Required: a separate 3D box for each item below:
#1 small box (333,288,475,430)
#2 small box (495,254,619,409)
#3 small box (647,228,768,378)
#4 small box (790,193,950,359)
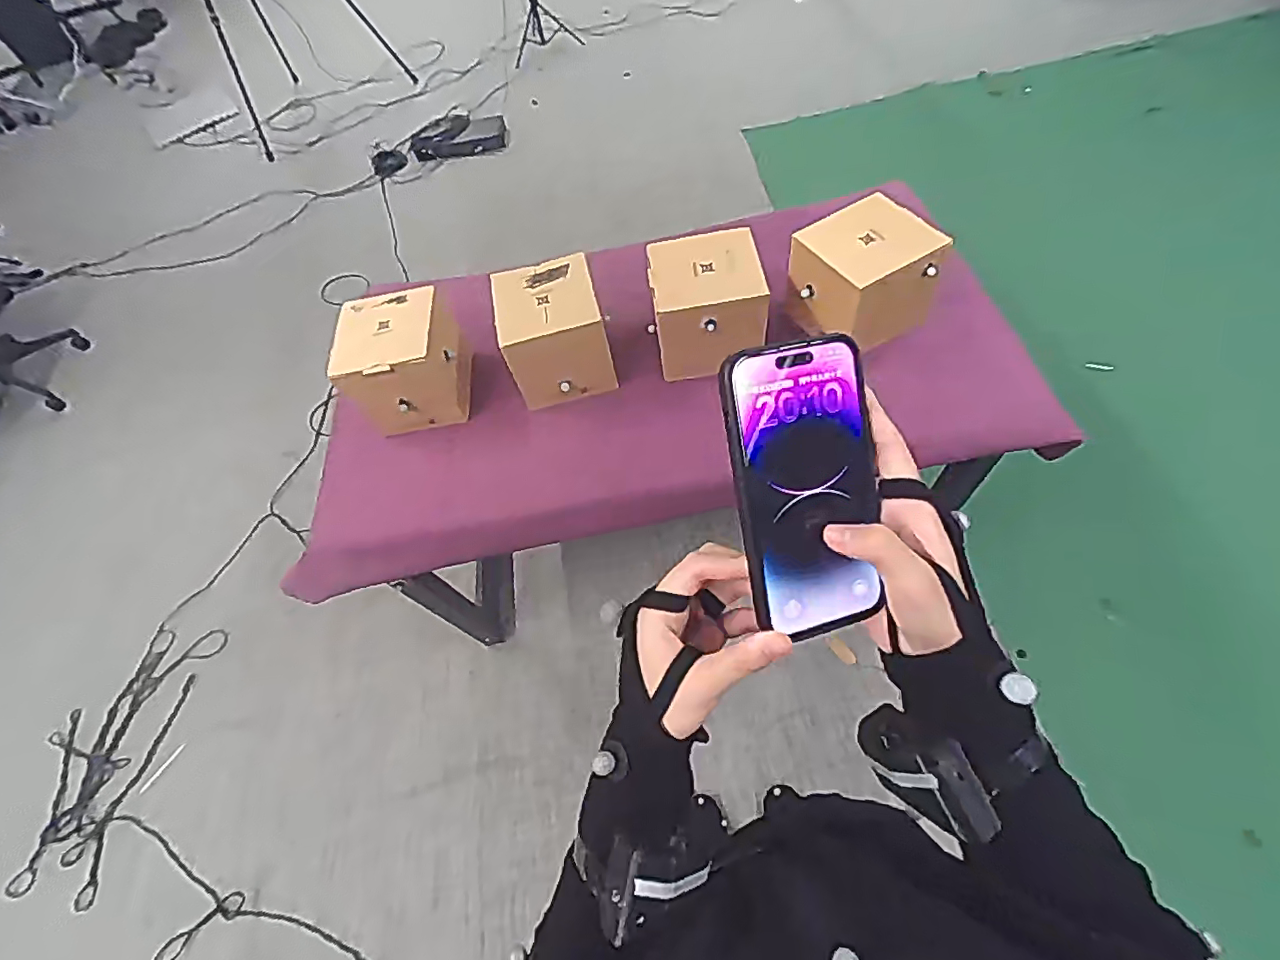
[{"bbox_3d":[-0.405,-0.204,0.958,0.168,0.176,0.179,-10,59,3],"label":"small box"},{"bbox_3d":[-0.141,-0.255,0.945,0.168,0.176,0.179,-15,59,1],"label":"small box"},{"bbox_3d":[0.115,-0.295,0.927,0.179,0.176,0.168,-8,60,4],"label":"small box"},{"bbox_3d":[0.369,-0.336,0.908,0.179,0.176,0.168,-29,59,-8],"label":"small box"}]
